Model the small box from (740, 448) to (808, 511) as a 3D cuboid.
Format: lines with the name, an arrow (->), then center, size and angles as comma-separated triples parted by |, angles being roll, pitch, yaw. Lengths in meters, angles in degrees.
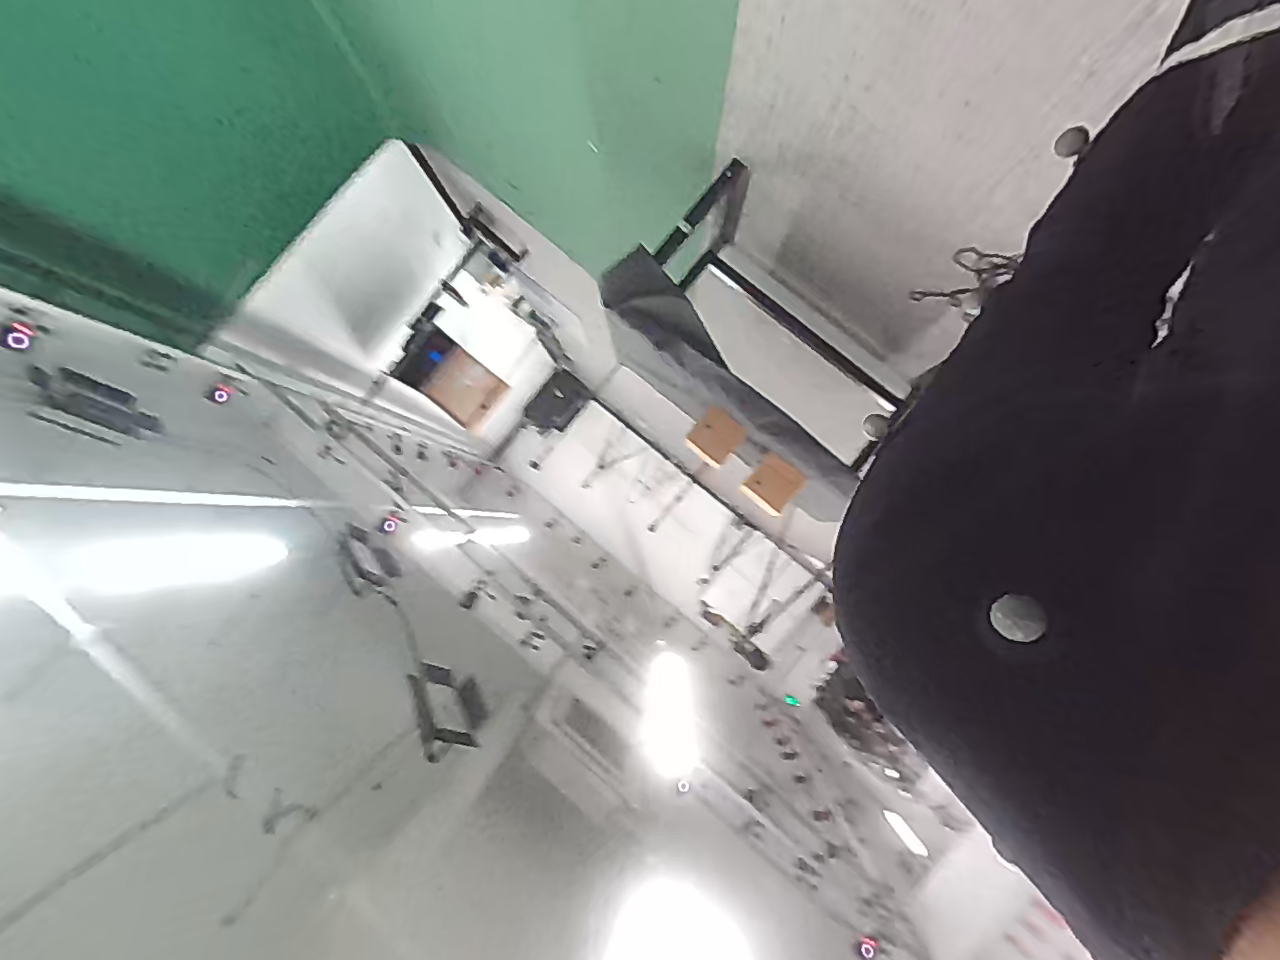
small box -> 0.507, 0.002, 2.048 | 0.179, 0.176, 0.168 | 41, 179, 6

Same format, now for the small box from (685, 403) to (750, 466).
small box -> 0.294, -0.179, 2.066 | 0.179, 0.176, 0.168 | 39, 179, 5
